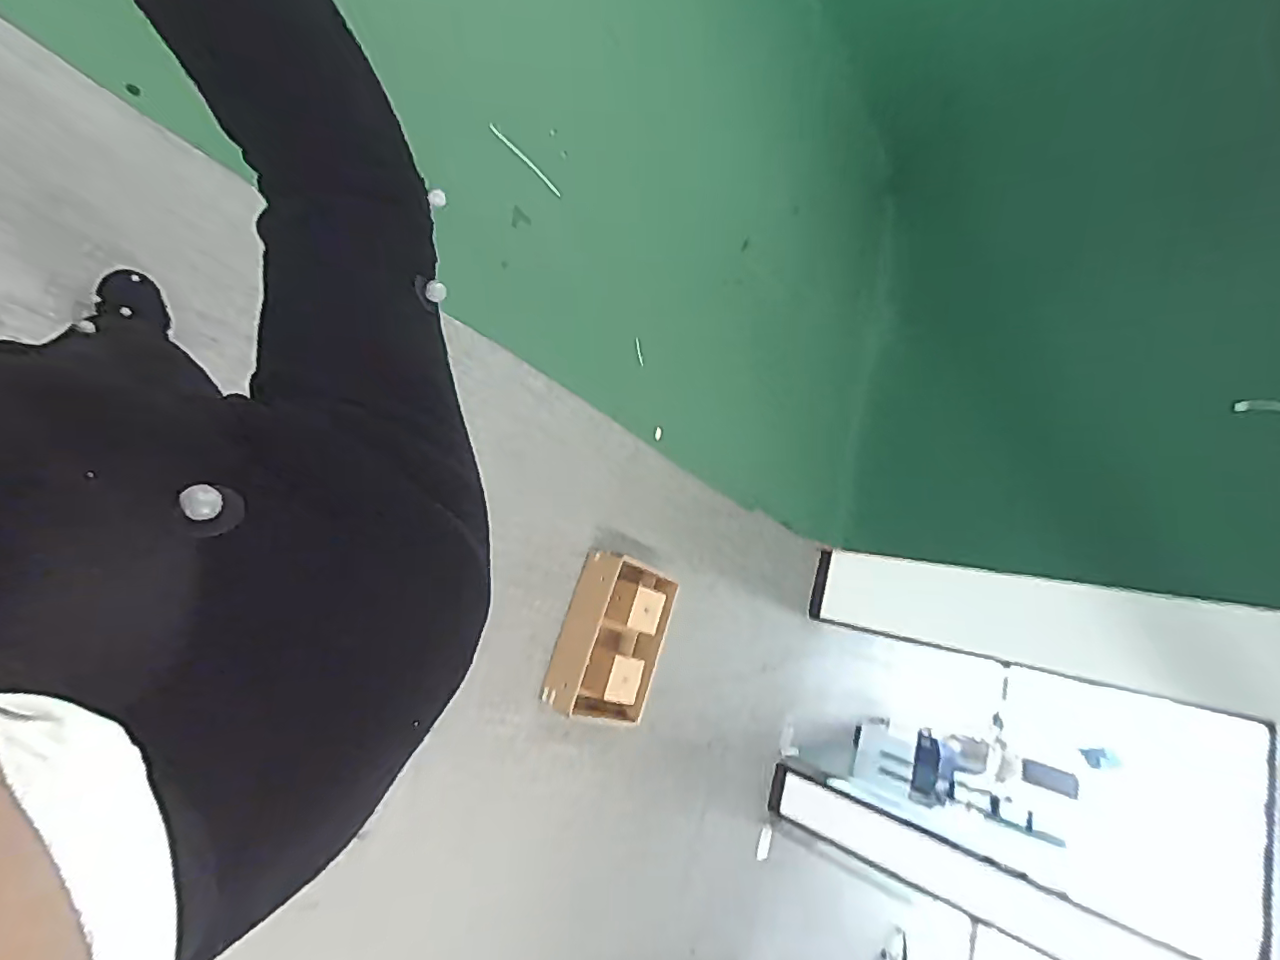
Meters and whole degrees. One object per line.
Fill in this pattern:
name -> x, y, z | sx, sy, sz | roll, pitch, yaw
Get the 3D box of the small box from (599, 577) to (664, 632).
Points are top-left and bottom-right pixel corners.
small box -> -0.038, 0.504, 2.203 | 0.179, 0.176, 0.168 | 31, 72, -43

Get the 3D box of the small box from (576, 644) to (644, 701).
small box -> -0.119, 0.758, 2.139 | 0.179, 0.176, 0.168 | 30, 70, -42
